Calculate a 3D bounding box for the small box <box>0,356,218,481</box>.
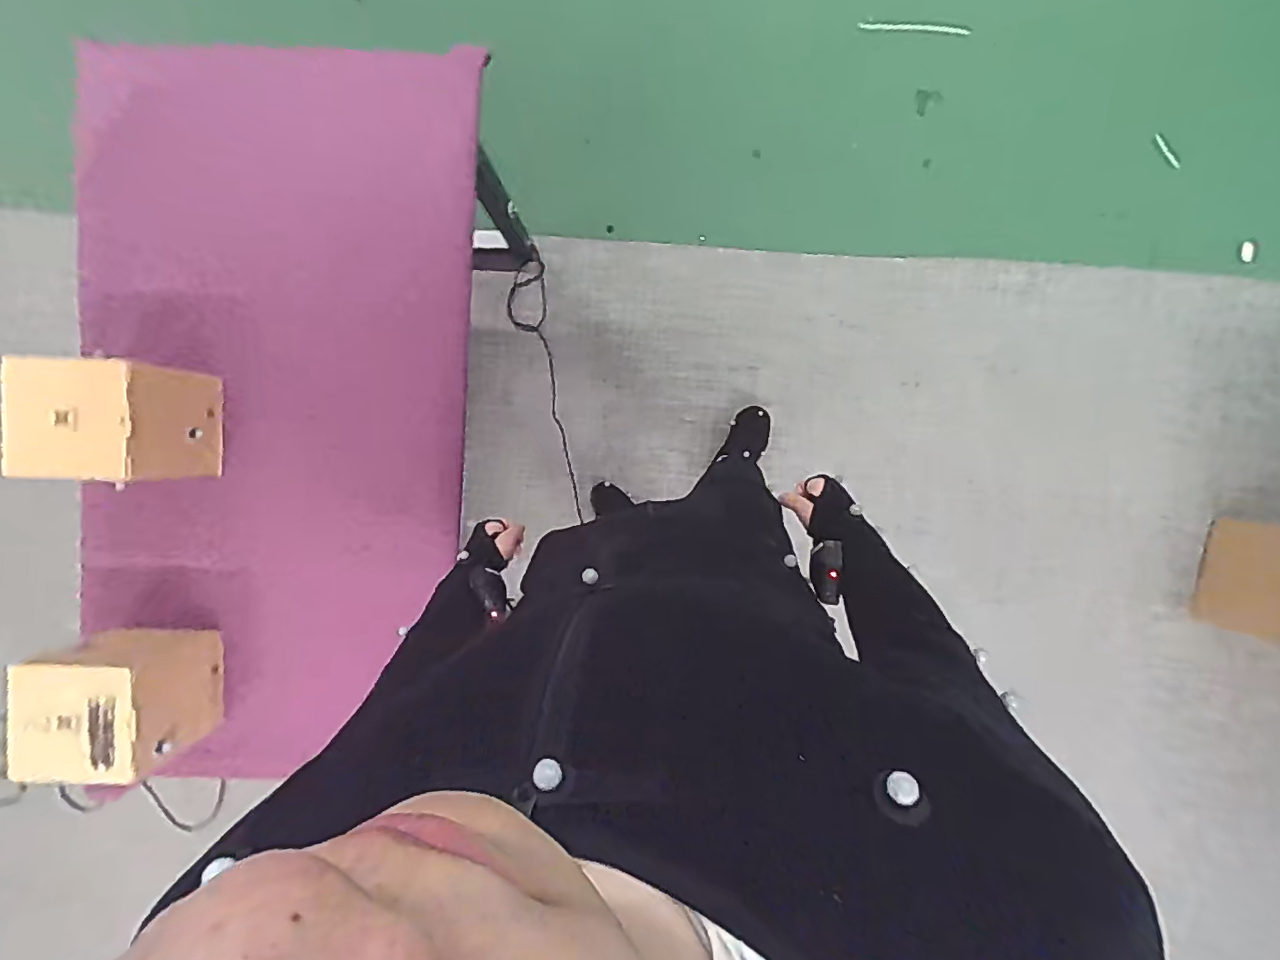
[{"bbox_3d":[-0.782,-0.084,0.806,0.179,0.176,0.168,1,92,-1],"label":"small box"}]
